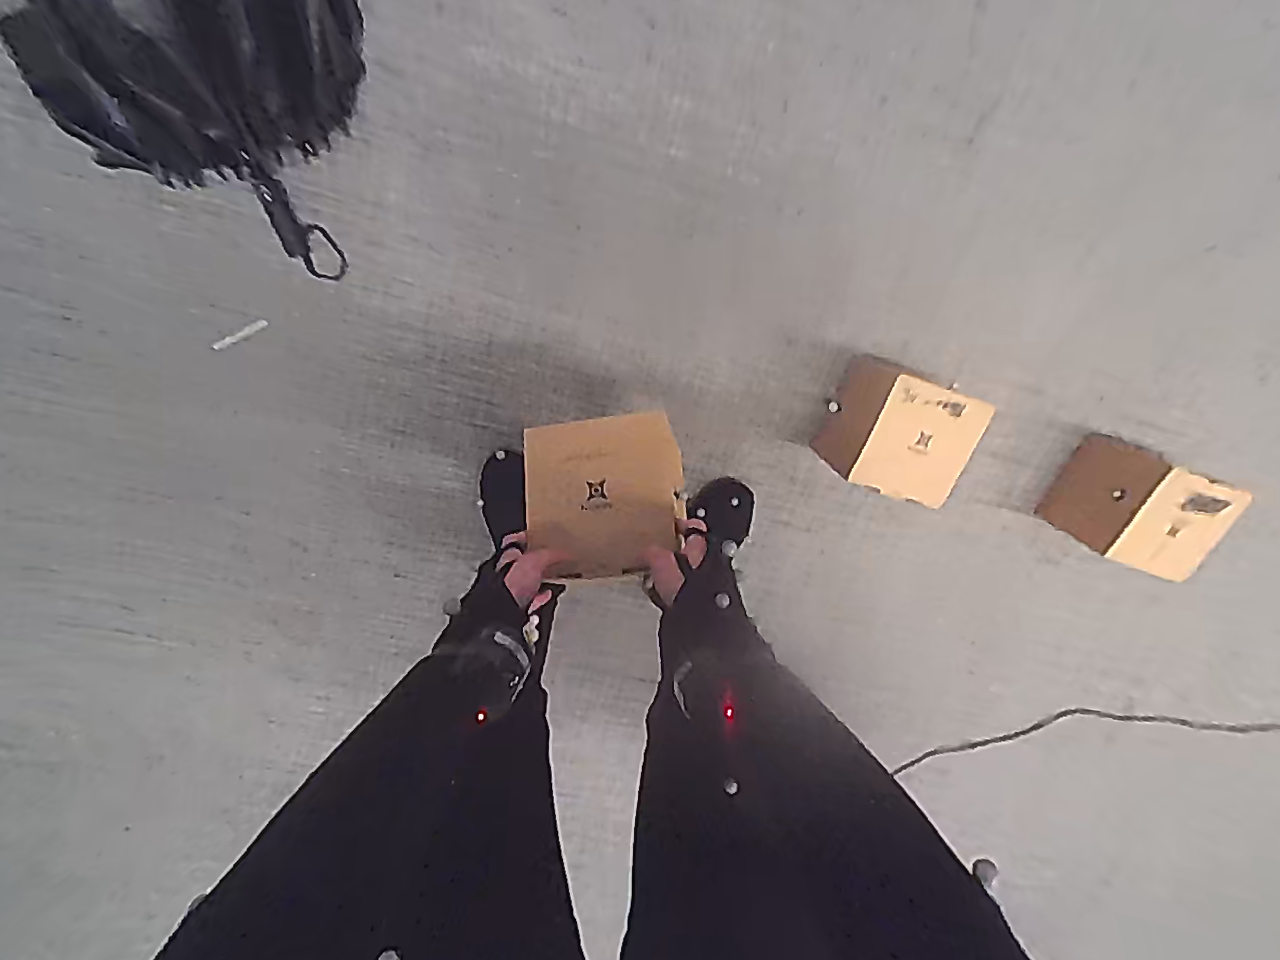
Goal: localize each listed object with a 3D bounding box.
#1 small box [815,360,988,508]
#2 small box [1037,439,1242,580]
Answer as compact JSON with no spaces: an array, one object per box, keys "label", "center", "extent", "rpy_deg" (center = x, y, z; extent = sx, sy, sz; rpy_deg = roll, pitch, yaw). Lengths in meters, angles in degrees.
[{"label":"small box","center":[0.413,-0.082,0.893],"extent":[0.168,0.176,0.179],"rpy_deg":[17,109,-9]},{"label":"small box","center":[0.868,0.044,0.963],"extent":[0.168,0.176,0.179],"rpy_deg":[17,111,-8]}]
